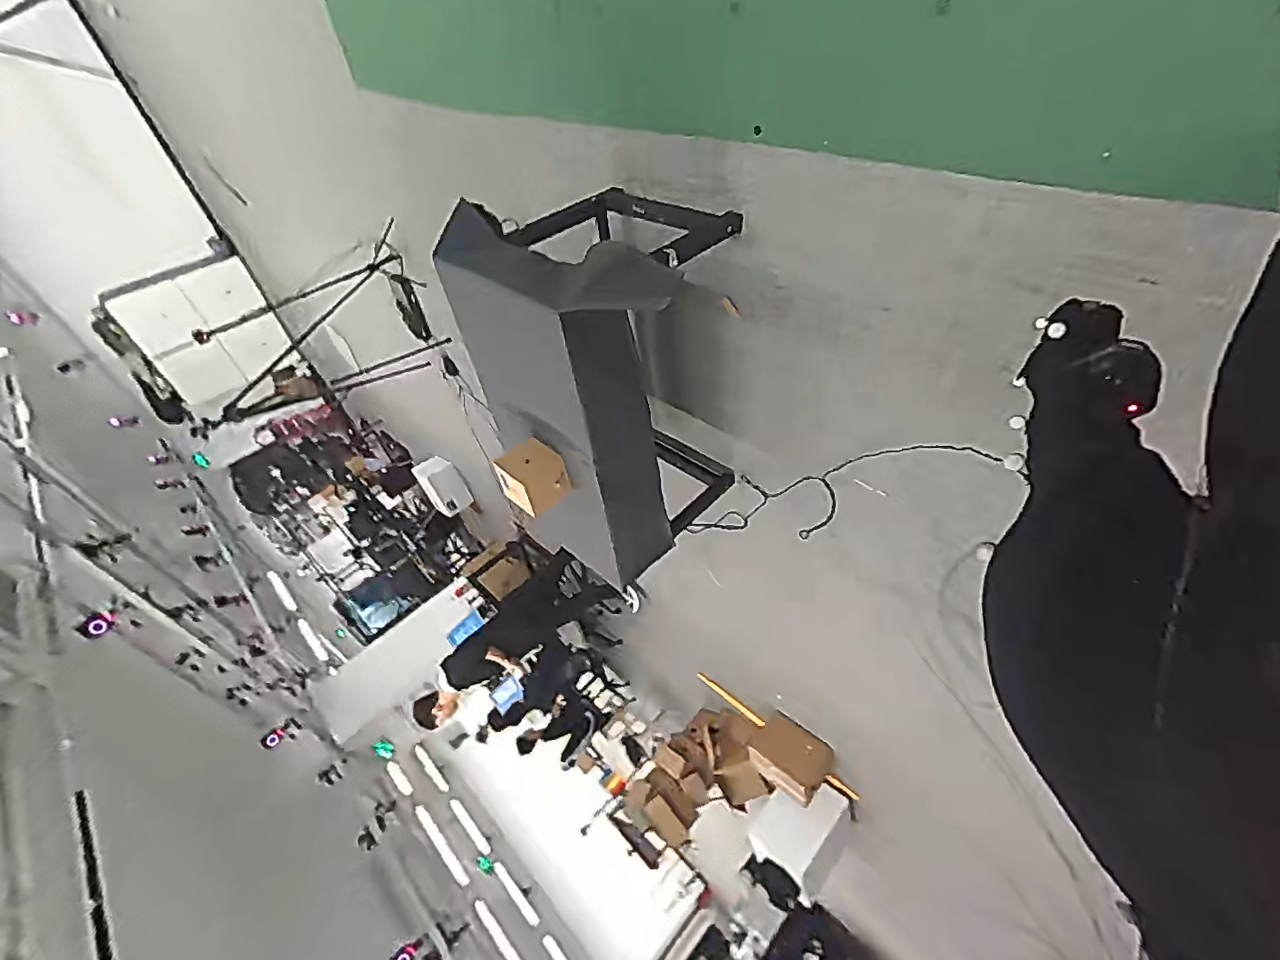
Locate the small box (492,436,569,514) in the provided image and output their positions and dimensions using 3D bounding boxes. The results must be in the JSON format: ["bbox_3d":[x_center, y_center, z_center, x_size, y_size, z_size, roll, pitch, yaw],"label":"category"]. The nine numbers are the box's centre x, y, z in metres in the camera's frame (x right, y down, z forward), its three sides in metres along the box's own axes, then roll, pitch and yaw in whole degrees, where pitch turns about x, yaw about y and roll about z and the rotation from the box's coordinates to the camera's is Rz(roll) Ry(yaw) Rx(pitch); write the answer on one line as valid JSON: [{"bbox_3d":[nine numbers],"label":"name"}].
[{"bbox_3d":[-0.366,-0.025,1.825,0.179,0.176,0.168,33,147,32],"label":"small box"}]
